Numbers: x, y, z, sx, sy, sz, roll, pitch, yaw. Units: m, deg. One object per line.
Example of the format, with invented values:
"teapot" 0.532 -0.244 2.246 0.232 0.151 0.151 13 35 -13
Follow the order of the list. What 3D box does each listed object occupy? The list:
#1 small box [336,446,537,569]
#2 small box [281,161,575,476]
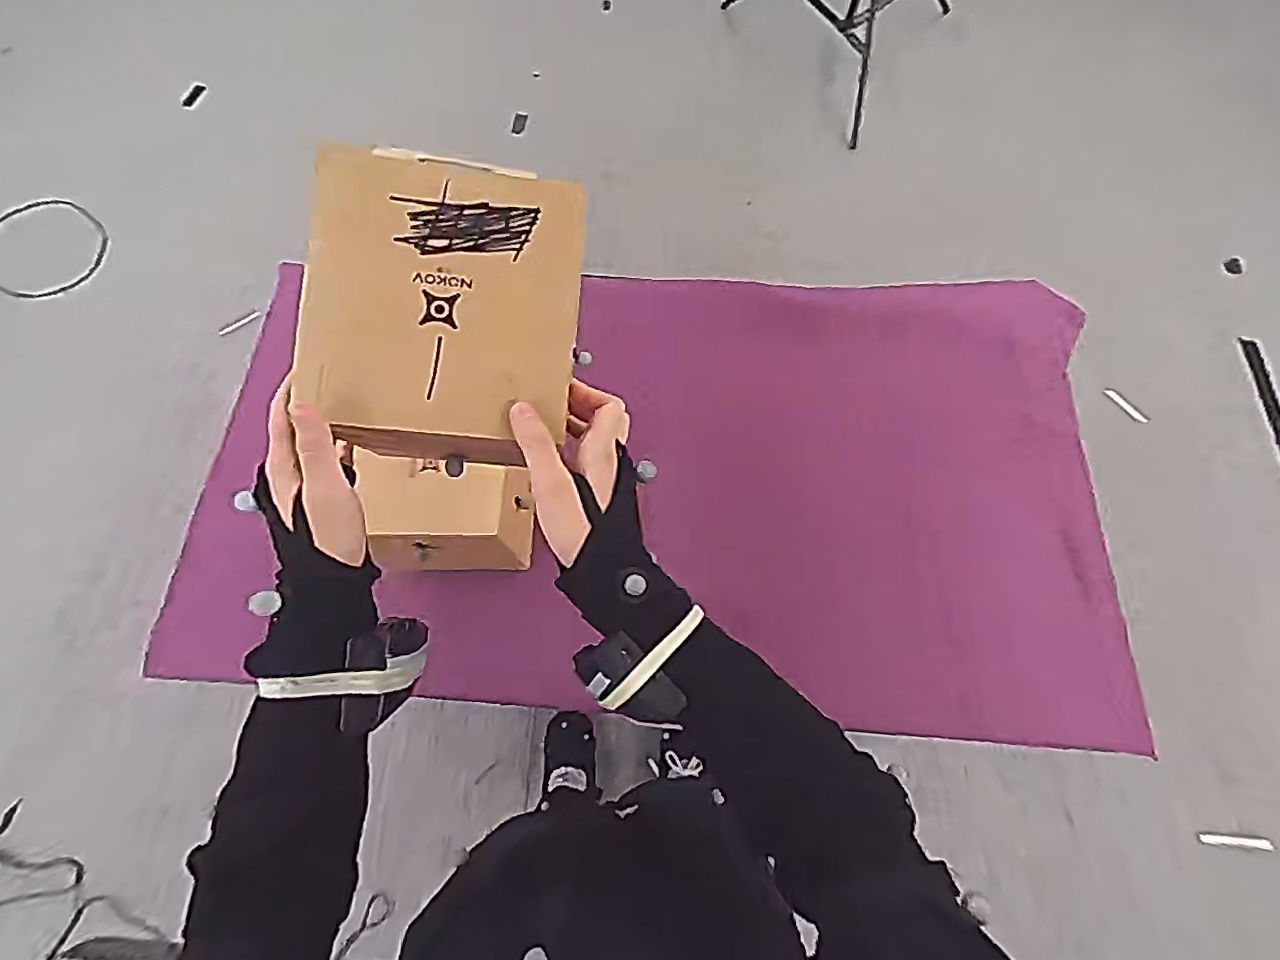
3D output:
"small box" -0.228 0.011 0.662 0.179 0.176 0.168 0 69 1
"small box" -0.143 -0.104 0.425 0.168 0.176 0.179 5 85 -8
